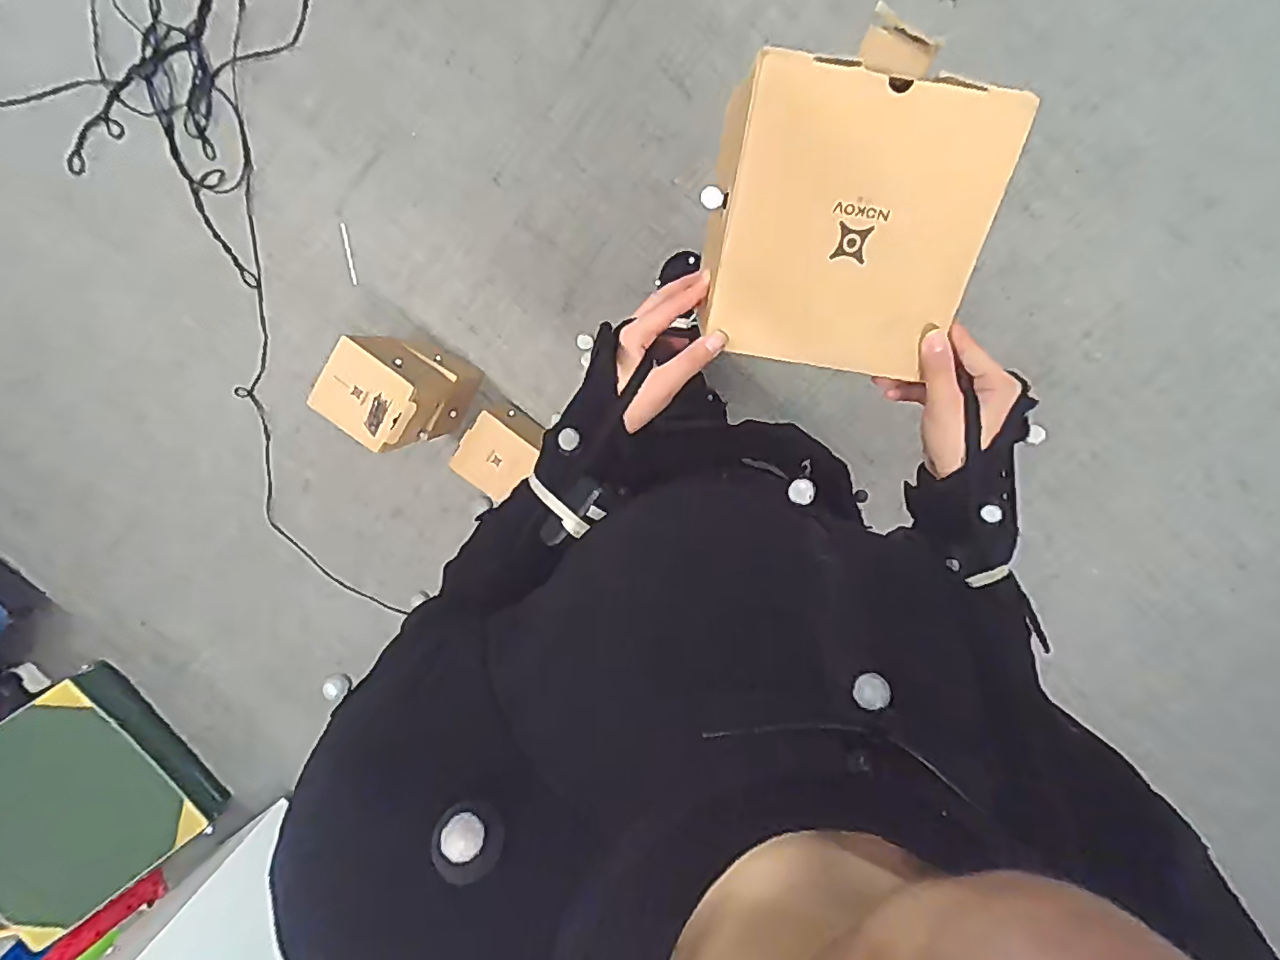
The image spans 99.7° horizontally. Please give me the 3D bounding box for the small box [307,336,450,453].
[{"bbox_3d":[-0.534,-0.183,1.129,0.179,0.176,0.168,37,104,-3],"label":"small box"}]

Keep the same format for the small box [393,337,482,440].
[{"bbox_3d":[-0.505,-0.220,1.288,0.168,0.176,0.179,31,105,-2],"label":"small box"}]

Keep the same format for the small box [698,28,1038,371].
[{"bbox_3d":[0.141,-0.201,0.415,0.168,0.176,0.179,9,116,-1],"label":"small box"}]
